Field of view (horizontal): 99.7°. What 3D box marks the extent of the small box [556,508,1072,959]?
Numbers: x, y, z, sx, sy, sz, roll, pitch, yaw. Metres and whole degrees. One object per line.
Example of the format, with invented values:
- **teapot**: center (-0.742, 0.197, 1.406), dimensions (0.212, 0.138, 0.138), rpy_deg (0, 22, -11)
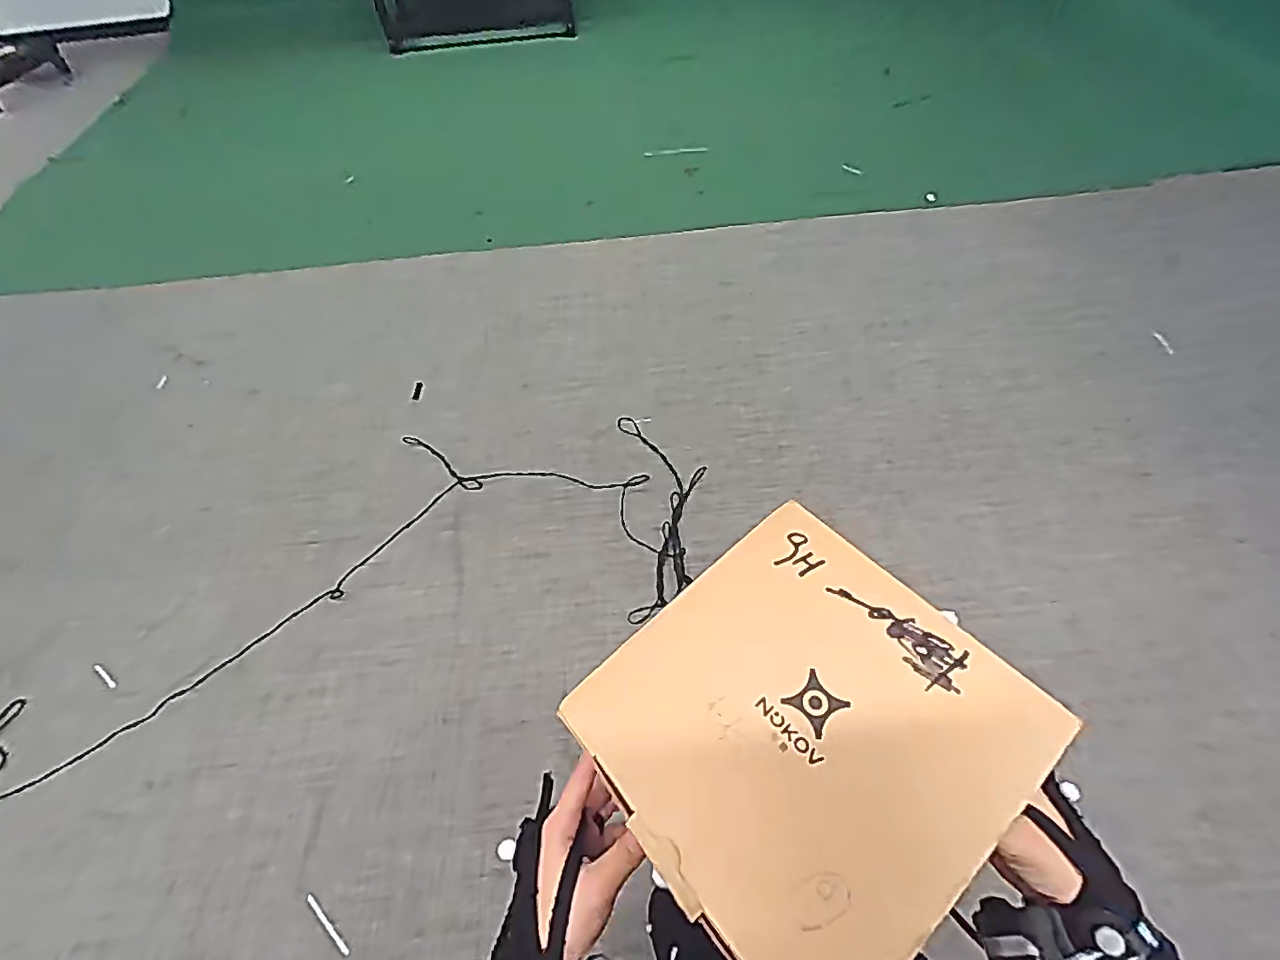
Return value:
- **small box**: center (0.085, 0.157, 0.315), dimensions (0.179, 0.176, 0.168), rpy_deg (-39, 58, -15)
